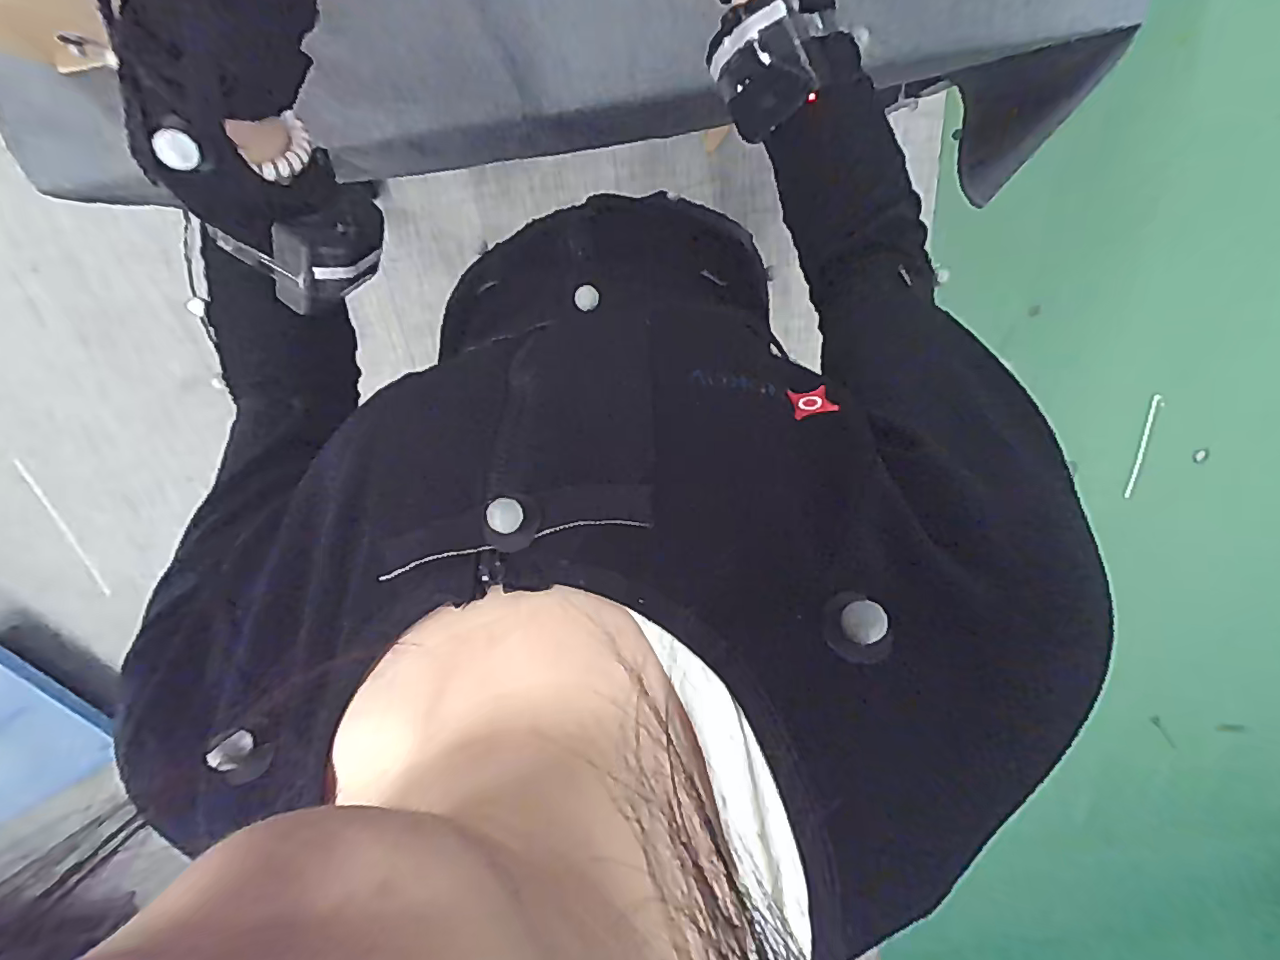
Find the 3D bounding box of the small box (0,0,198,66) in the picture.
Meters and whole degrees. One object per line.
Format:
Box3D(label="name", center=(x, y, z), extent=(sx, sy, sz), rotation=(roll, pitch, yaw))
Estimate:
Box3D(label="small box", center=(-0.533, -0.481, 0.444), extent=(0.168, 0.176, 0.179), rotation=(-9, 115, 3))
